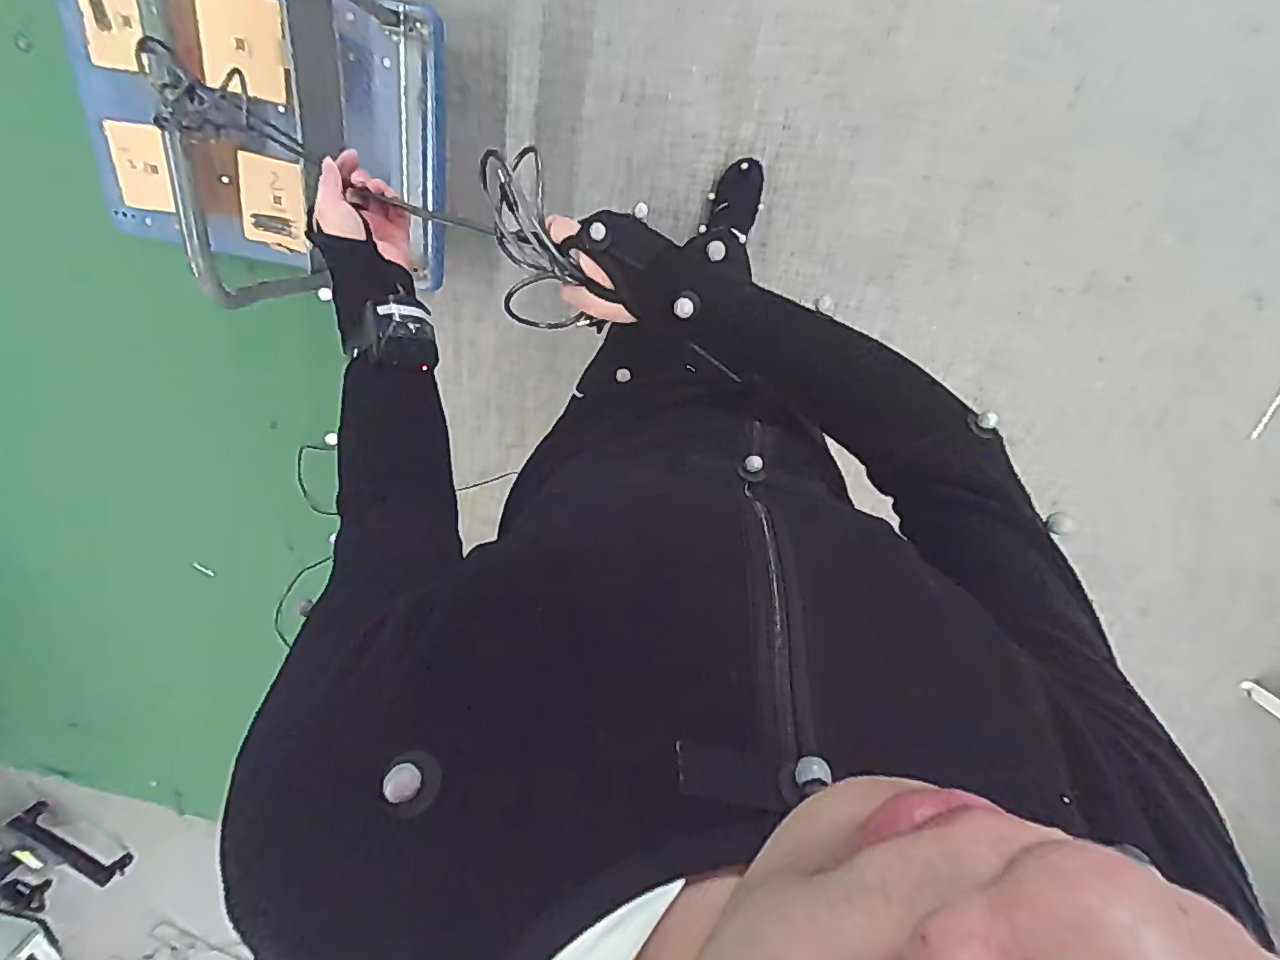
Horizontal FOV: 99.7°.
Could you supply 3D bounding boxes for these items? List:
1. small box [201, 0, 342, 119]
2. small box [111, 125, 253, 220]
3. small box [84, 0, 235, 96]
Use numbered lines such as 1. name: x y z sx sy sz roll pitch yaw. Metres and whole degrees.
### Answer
1. small box: -0.752 -0.870 1.120 0.179 0.176 0.168 13 116 1
2. small box: -1.032 -0.699 1.242 0.179 0.176 0.168 9 115 4
3. small box: -0.990 -0.925 1.129 0.179 0.176 0.168 10 117 2
